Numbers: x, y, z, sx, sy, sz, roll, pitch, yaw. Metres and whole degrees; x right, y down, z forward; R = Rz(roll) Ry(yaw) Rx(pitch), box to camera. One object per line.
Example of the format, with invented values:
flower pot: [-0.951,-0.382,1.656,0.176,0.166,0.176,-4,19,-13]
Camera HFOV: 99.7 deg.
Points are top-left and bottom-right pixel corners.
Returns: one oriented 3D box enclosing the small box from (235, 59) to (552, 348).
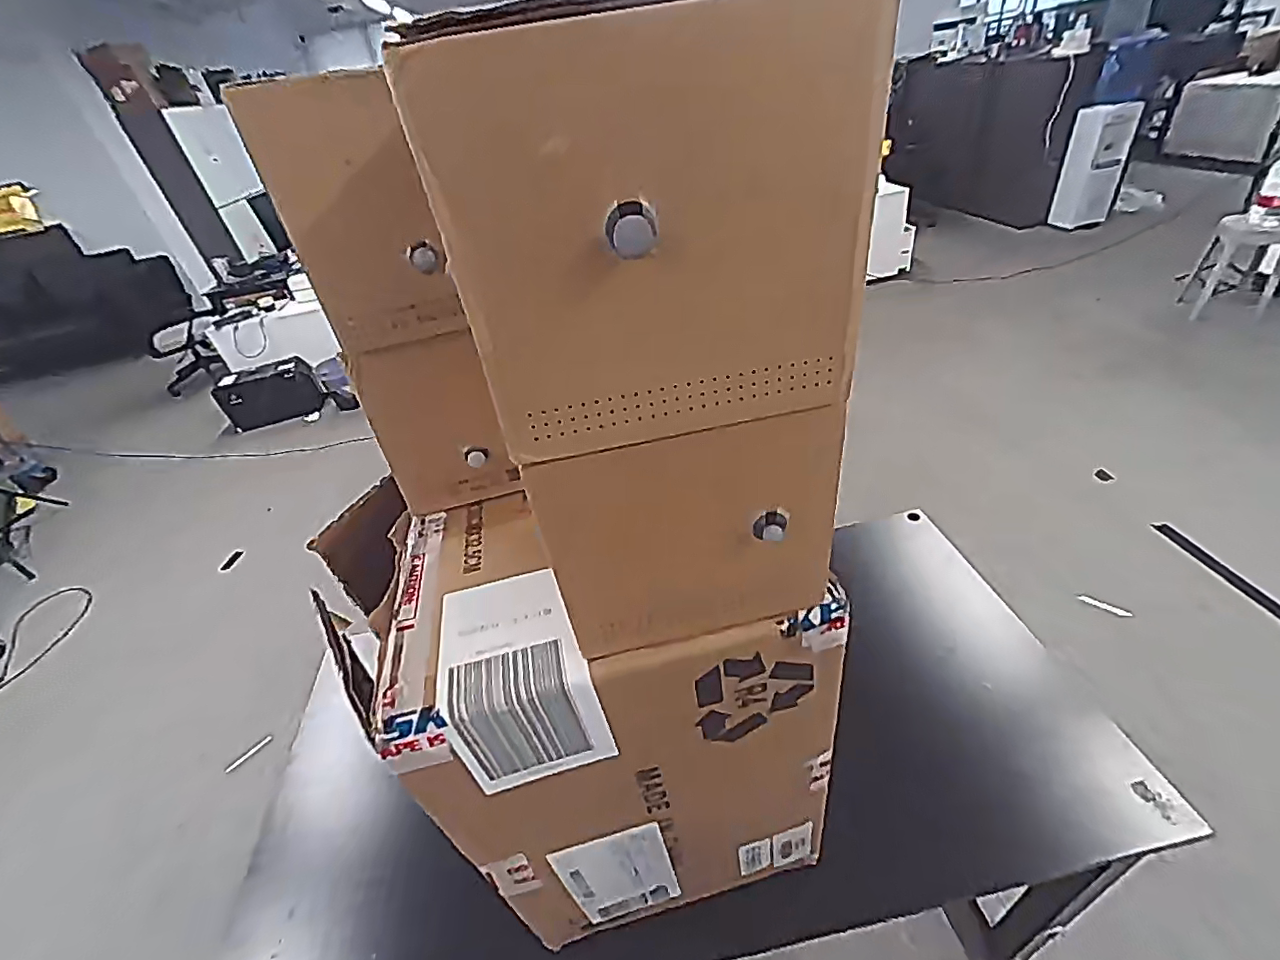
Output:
small box: [-0.179,-0.226,0.449,0.168,0.176,0.179,-16,36,-8]

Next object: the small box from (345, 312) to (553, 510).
small box: [-0.166,-0.096,0.551,0.168,0.176,0.179,-14,36,-7]

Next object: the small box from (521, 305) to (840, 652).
small box: [0.020,-0.004,0.394,0.179,0.176,0.168,-13,37,-4]
